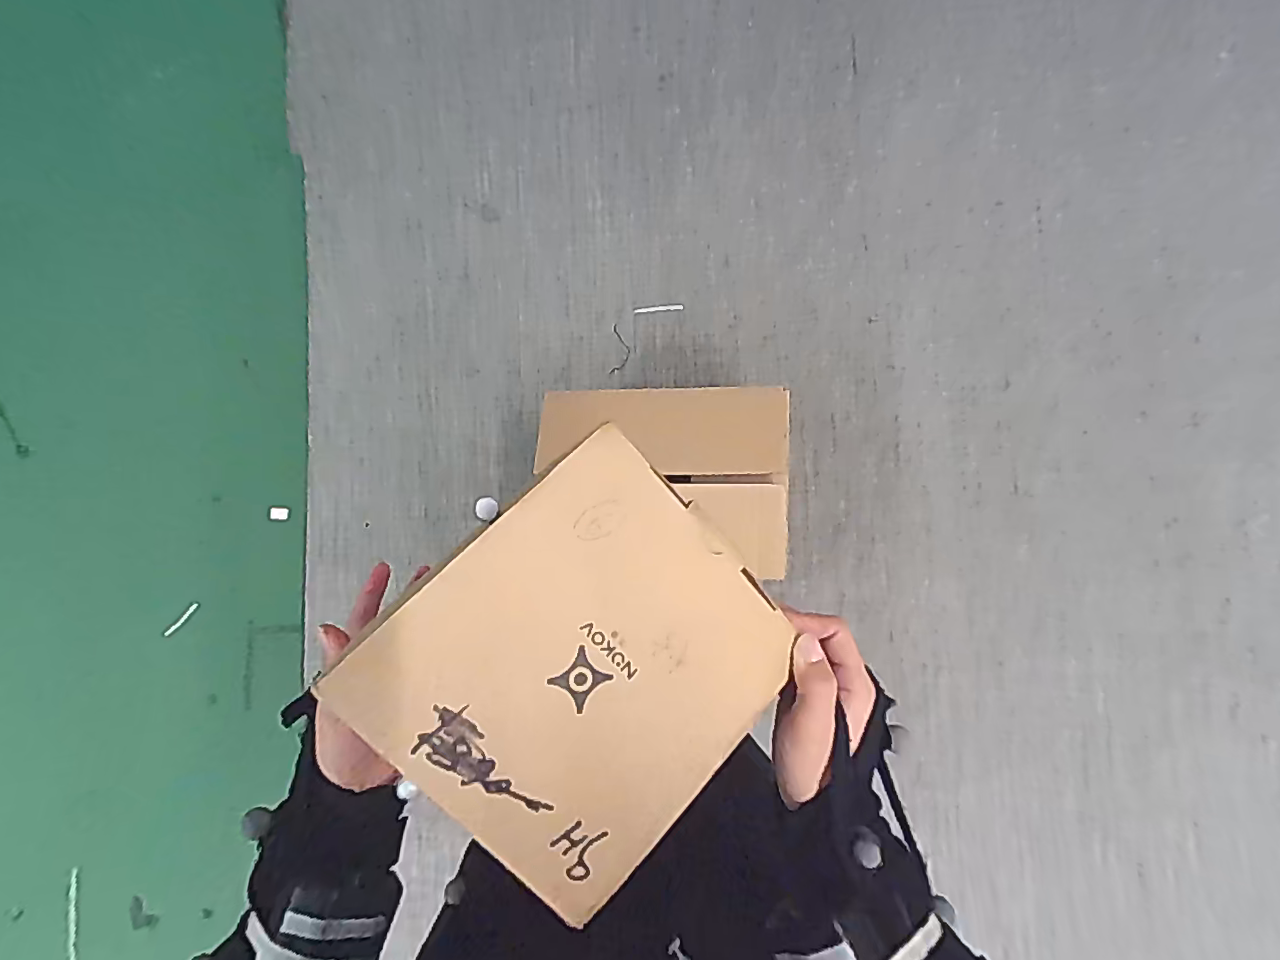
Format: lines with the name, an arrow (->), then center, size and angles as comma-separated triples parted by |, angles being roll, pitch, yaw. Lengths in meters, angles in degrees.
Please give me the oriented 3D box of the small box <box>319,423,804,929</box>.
small box -> -0.046, 0.092, 0.330 | 0.179, 0.176, 0.168 | -44, 98, -16
